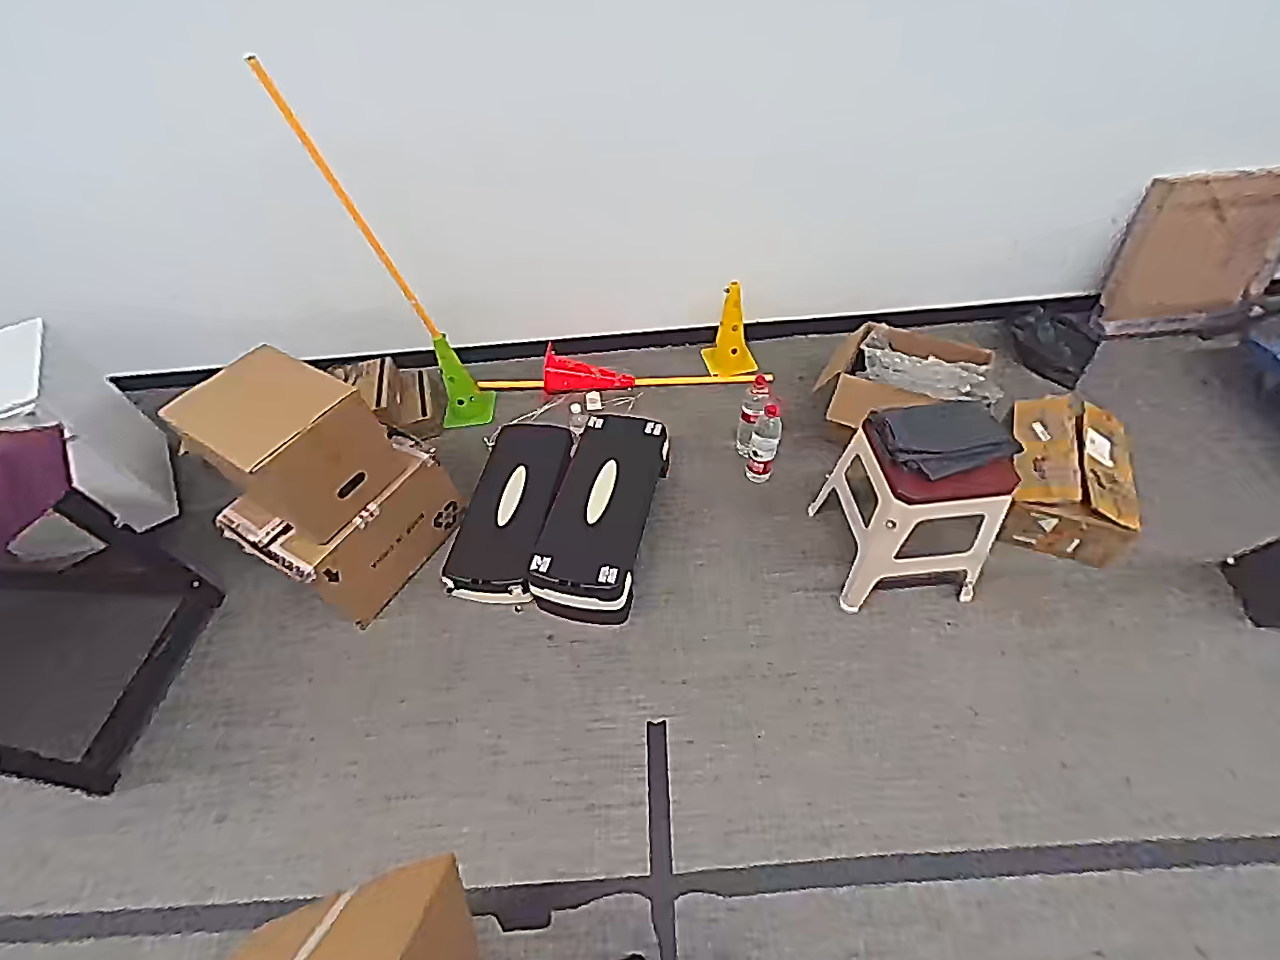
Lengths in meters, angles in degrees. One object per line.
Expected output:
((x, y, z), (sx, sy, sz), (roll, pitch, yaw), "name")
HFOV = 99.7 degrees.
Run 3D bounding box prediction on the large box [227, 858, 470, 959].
((-0.395, 0.770, 0.658), (0.320, 0.408, 0.320), (-17, 82, -8), "large box")
